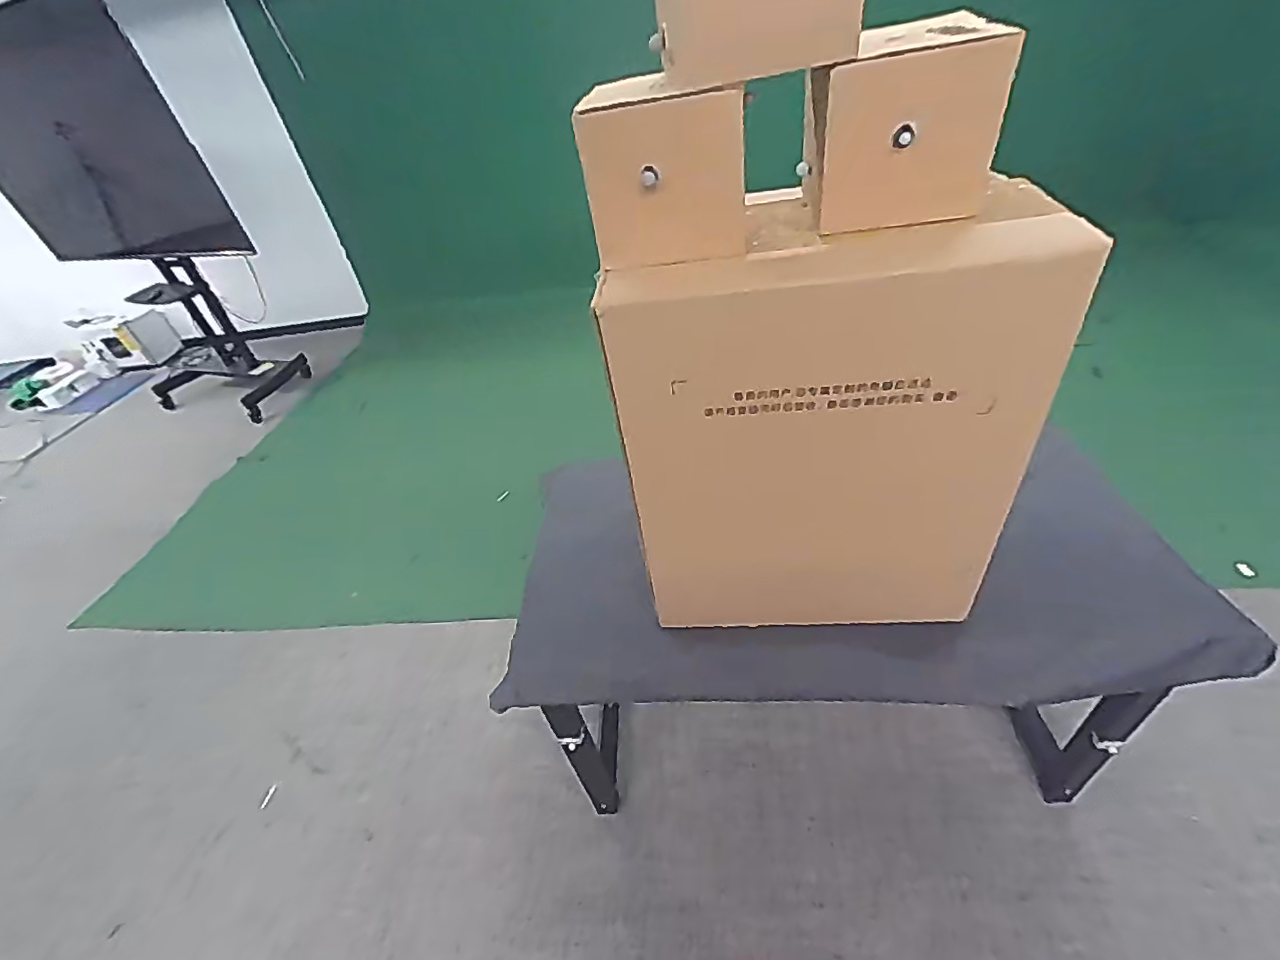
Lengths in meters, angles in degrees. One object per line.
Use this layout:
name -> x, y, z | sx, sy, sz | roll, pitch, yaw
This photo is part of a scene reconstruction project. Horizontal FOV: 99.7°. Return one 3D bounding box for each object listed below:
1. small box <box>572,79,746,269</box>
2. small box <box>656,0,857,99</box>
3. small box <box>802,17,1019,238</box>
small box -> 0.034, -0.369, 0.653 | 0.179, 0.176, 0.168 | -3, 44, 10
small box -> 0.107, -0.498, 0.532 | 0.179, 0.176, 0.168 | -11, 41, 3
small box -> 0.289, -0.403, 0.626 | 0.179, 0.176, 0.168 | -3, 44, 11
